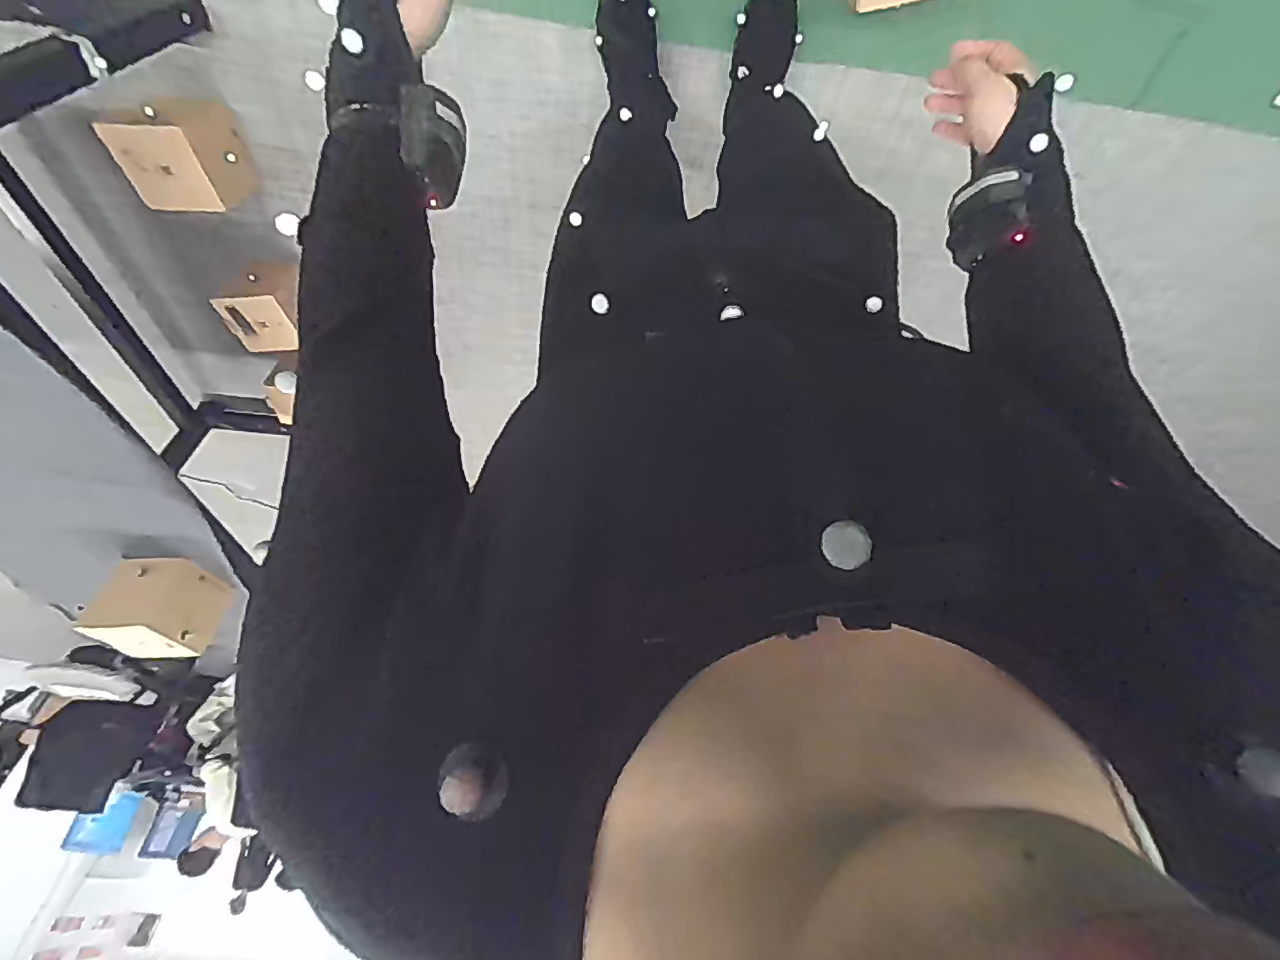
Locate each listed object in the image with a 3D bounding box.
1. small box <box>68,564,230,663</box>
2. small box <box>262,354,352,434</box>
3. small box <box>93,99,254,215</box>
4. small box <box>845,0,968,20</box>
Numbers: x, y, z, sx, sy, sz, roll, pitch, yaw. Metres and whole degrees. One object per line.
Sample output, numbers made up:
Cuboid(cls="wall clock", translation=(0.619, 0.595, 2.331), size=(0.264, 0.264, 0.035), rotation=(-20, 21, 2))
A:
Cuboid(cls="small box", translation=(-1.097, 0.300, 1.228), size=(0.179, 0.176, 0.168), rotation=(-2, 141, 7))
Cuboid(cls="small box", translation=(-1.023, -0.269, 1.683), size=(0.179, 0.176, 0.168), rotation=(9, 141, -6))
Cuboid(cls="small box", translation=(-0.967, -0.688, 1.150), size=(0.179, 0.176, 0.168), rotation=(3, 141, 1))
Cuboid(cls="small box", translation=(0.421, -0.850, 0.838), size=(0.179, 0.176, 0.168), rotation=(-4, 141, 9))
